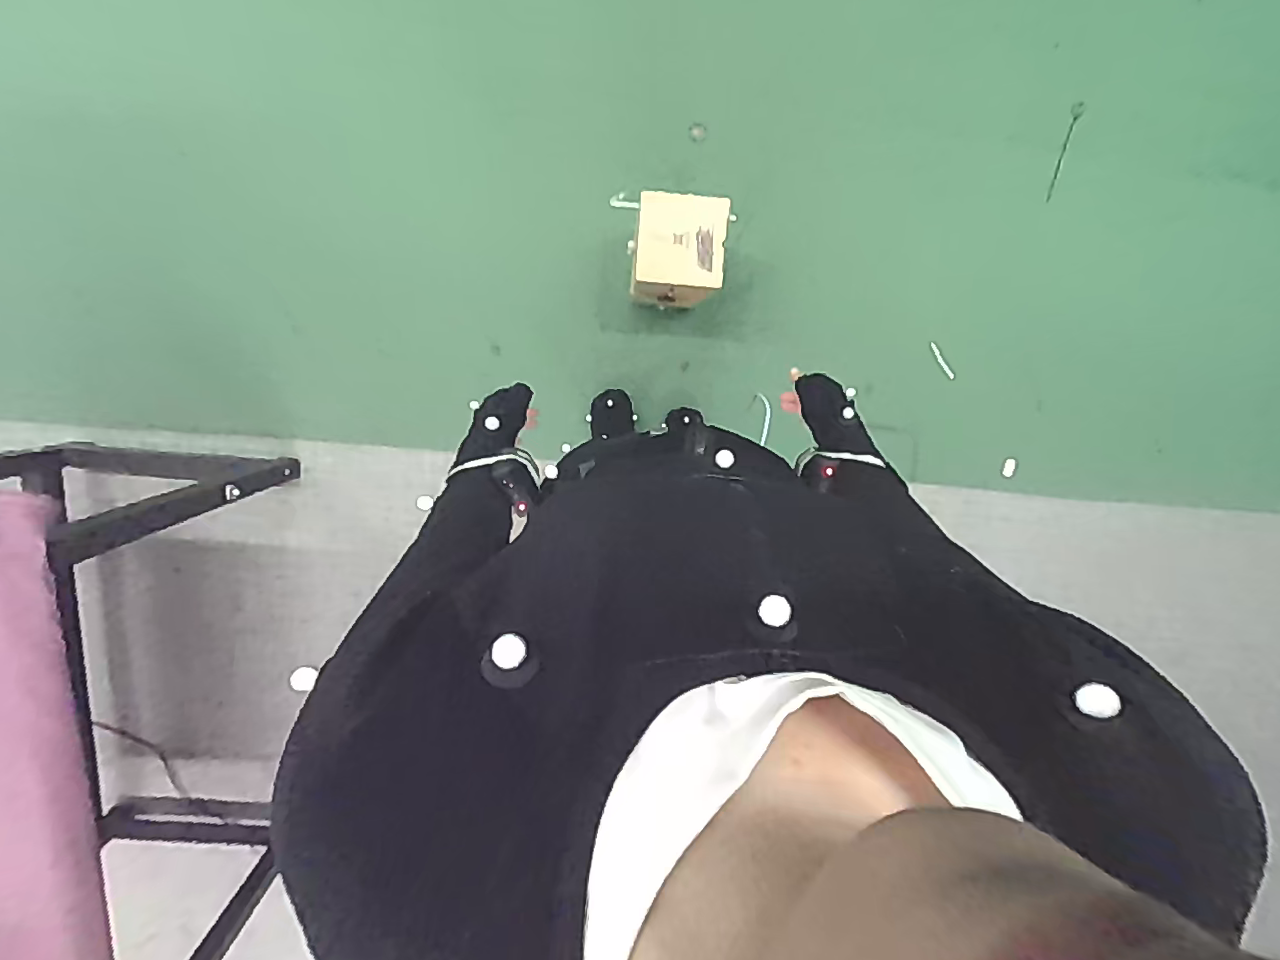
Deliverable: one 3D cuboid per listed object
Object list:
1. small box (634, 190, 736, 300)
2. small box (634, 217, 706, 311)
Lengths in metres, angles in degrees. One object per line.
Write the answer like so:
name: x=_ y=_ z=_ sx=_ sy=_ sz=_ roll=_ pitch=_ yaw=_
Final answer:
small box: x=0.086 y=-0.477 z=1.125 sx=0.179 sy=0.176 sz=0.168 roll=7 pitch=100 yaw=-4
small box: x=0.073 y=-0.509 z=1.289 sx=0.168 sy=0.176 sz=0.179 roll=4 pitch=102 yaw=-2
